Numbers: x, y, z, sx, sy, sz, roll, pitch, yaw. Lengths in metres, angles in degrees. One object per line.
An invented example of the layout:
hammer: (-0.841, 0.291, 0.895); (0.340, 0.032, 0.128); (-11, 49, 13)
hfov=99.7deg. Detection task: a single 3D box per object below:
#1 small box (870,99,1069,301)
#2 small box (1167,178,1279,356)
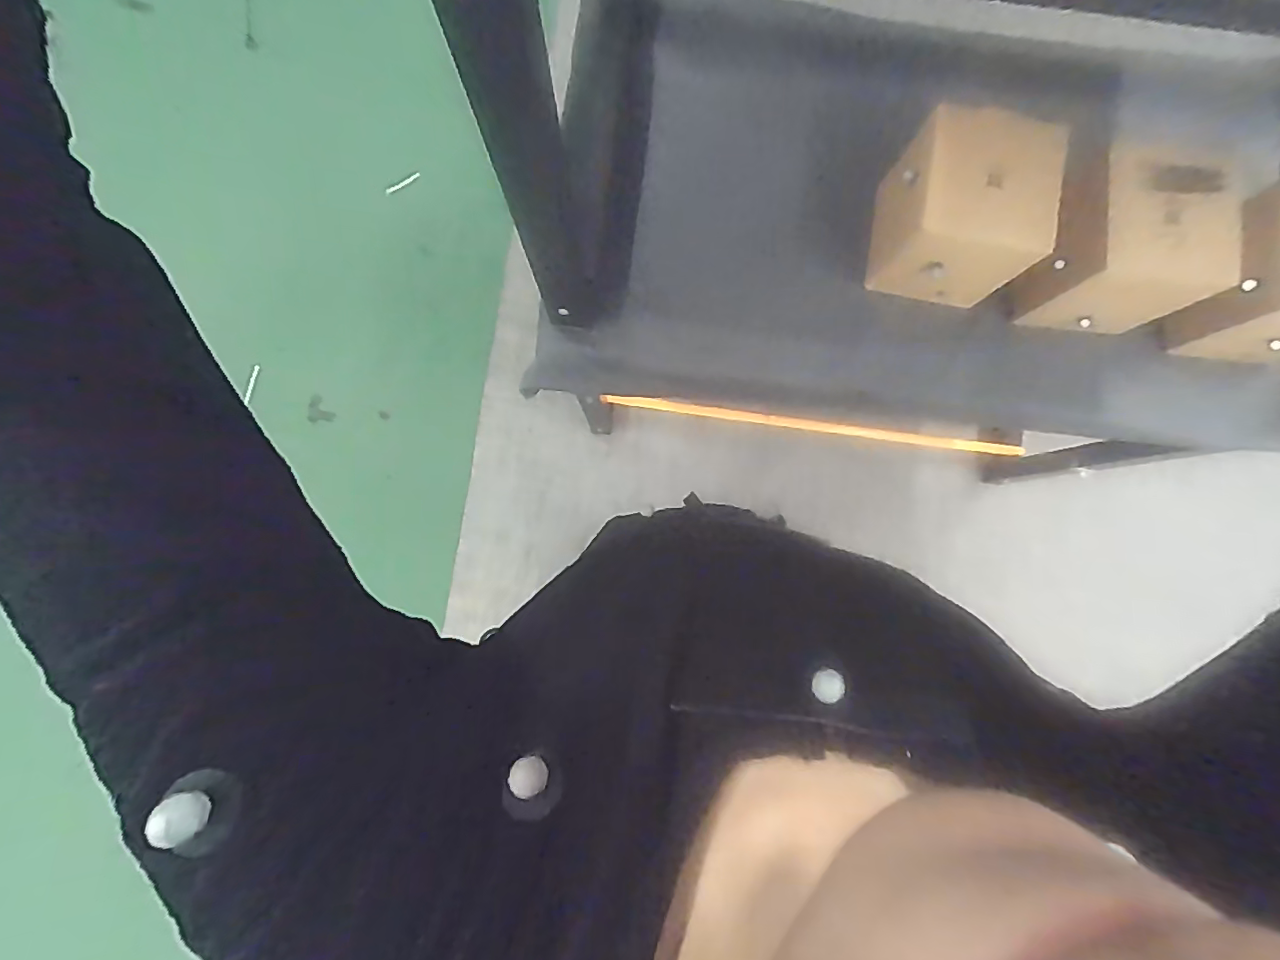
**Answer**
small box: (0.440, -0.371, 0.749); (0.168, 0.176, 0.179); (11, 84, 1)
small box: (0.879, -0.283, 0.740); (0.168, 0.176, 0.179); (5, 83, 0)
